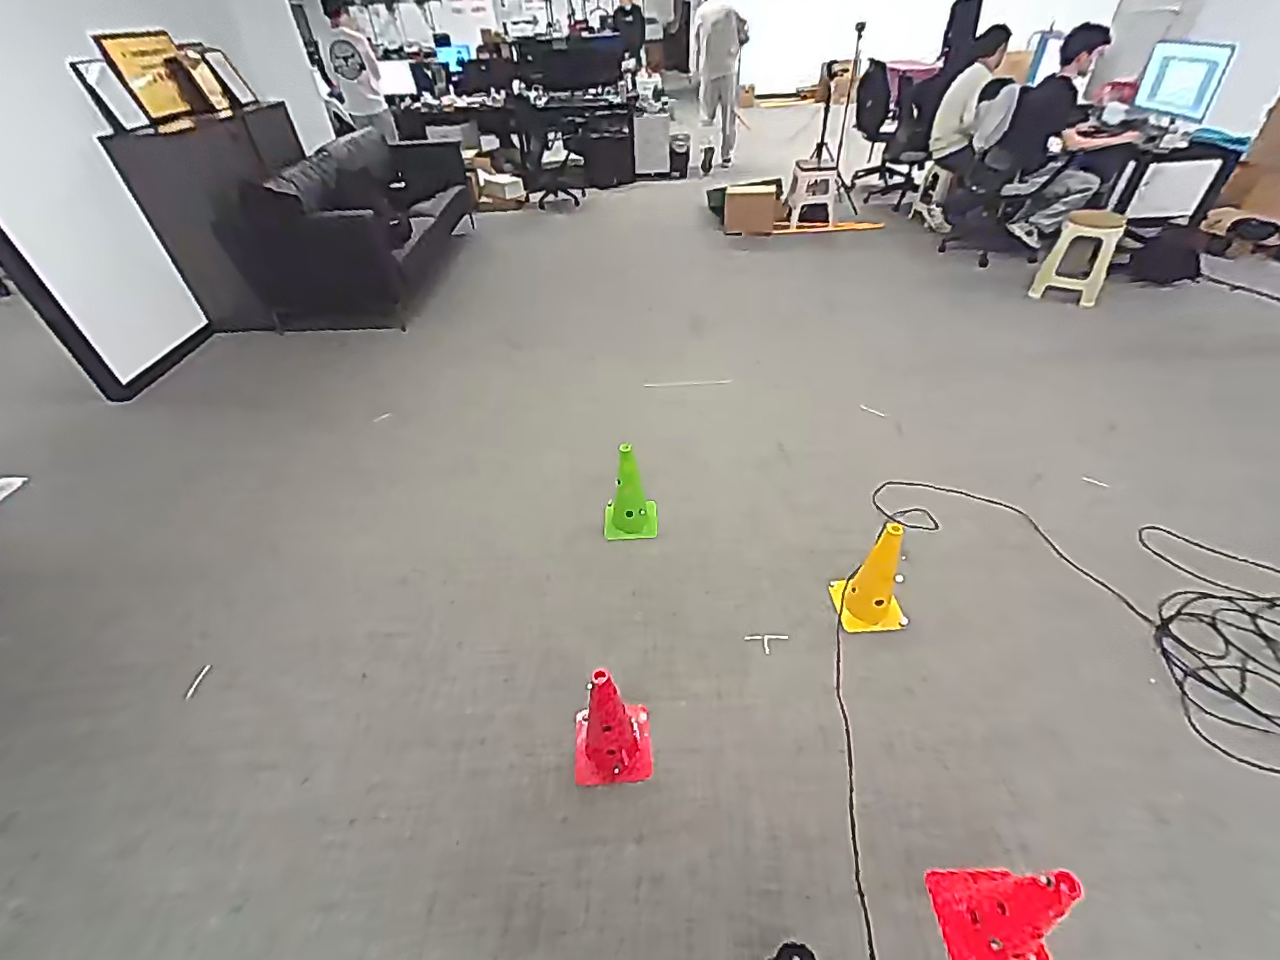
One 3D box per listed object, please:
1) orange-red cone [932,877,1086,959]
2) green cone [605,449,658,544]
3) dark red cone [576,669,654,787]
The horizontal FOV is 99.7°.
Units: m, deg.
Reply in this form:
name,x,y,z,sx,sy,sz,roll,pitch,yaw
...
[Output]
name,x,y,z,sx,sy,sz,roll,pitch,yaw
orange-red cone,0.729,0.816,1.015,0.198,0.360,0.199,-1,40,2
green cone,-0.039,0.043,1.978,0.202,0.368,0.200,-2,41,0
dark red cone,-0.075,0.576,1.320,0.202,0.394,0.201,-6,42,-2
